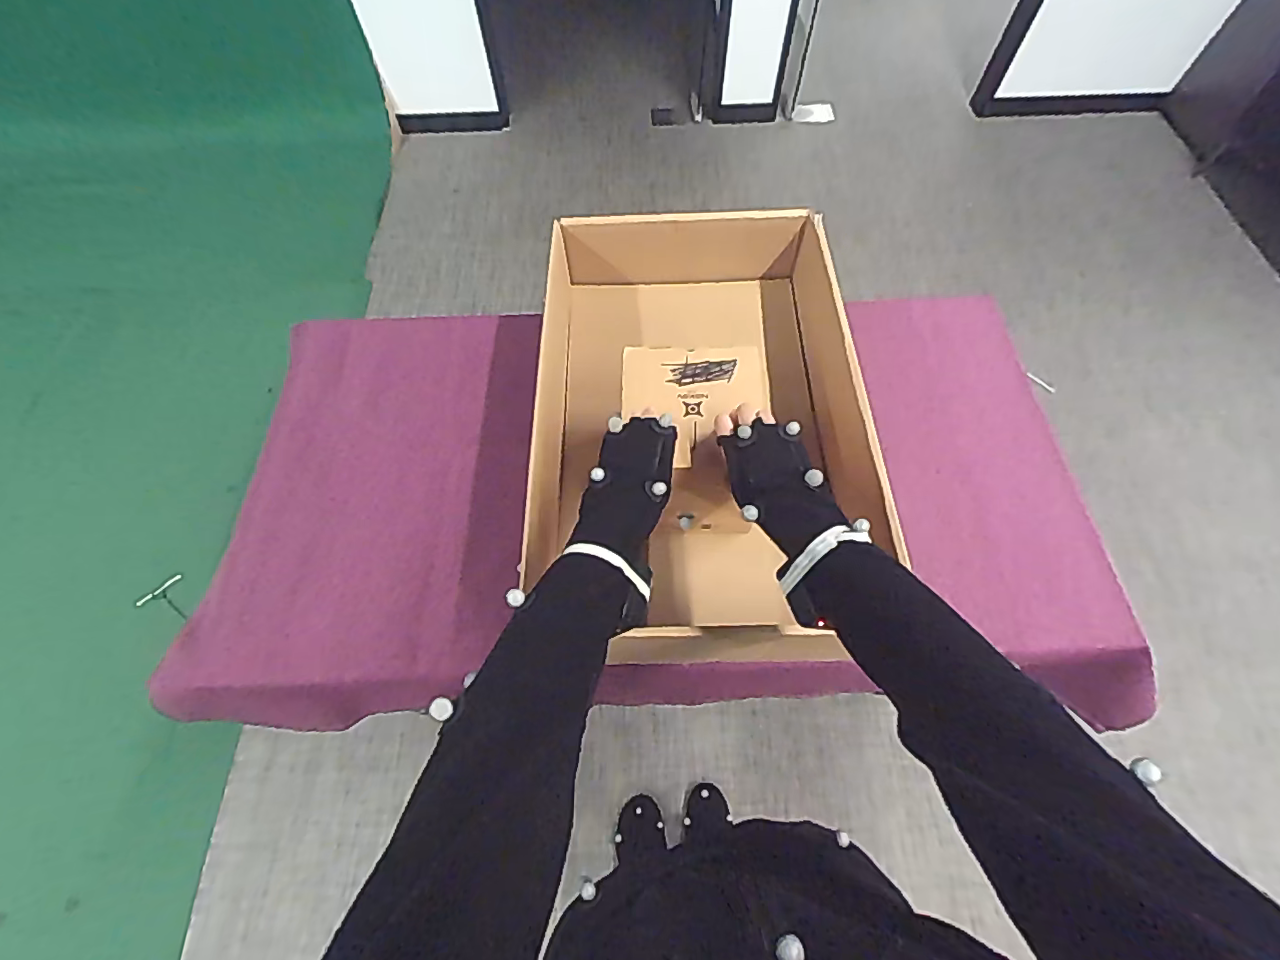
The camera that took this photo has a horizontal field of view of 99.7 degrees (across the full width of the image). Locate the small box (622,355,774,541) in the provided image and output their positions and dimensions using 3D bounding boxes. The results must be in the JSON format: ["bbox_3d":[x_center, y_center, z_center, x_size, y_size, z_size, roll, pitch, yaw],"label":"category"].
[{"bbox_3d":[0.064,-0.037,0.685,0.168,0.176,0.179,-1,60,1],"label":"small box"}]
